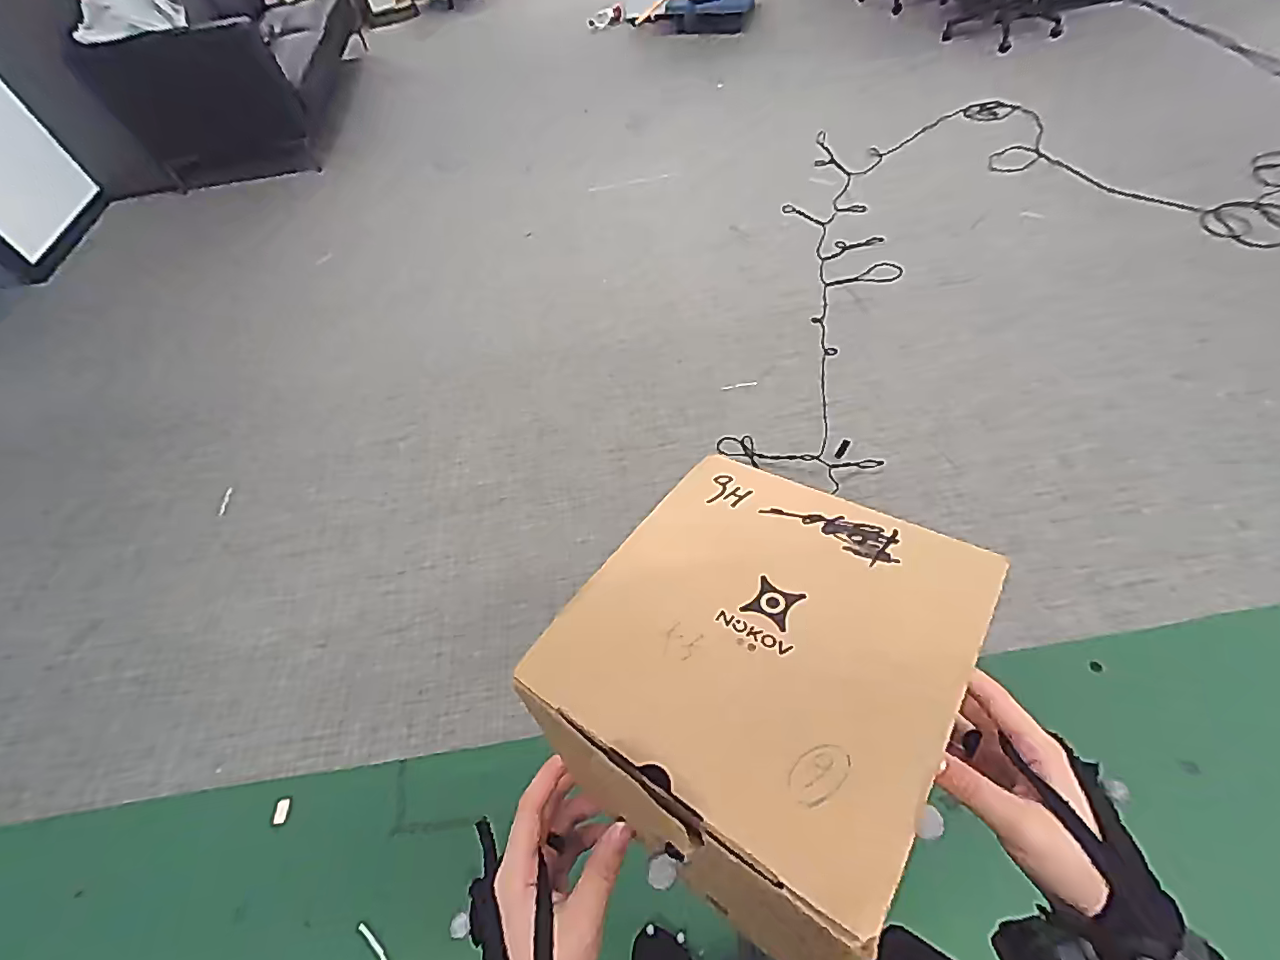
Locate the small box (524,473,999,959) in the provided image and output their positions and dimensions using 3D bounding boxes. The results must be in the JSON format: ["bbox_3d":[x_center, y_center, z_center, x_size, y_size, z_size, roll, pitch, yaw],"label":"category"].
[{"bbox_3d":[0.070,0.132,0.310,0.168,0.176,0.179,23,52,31],"label":"small box"}]
